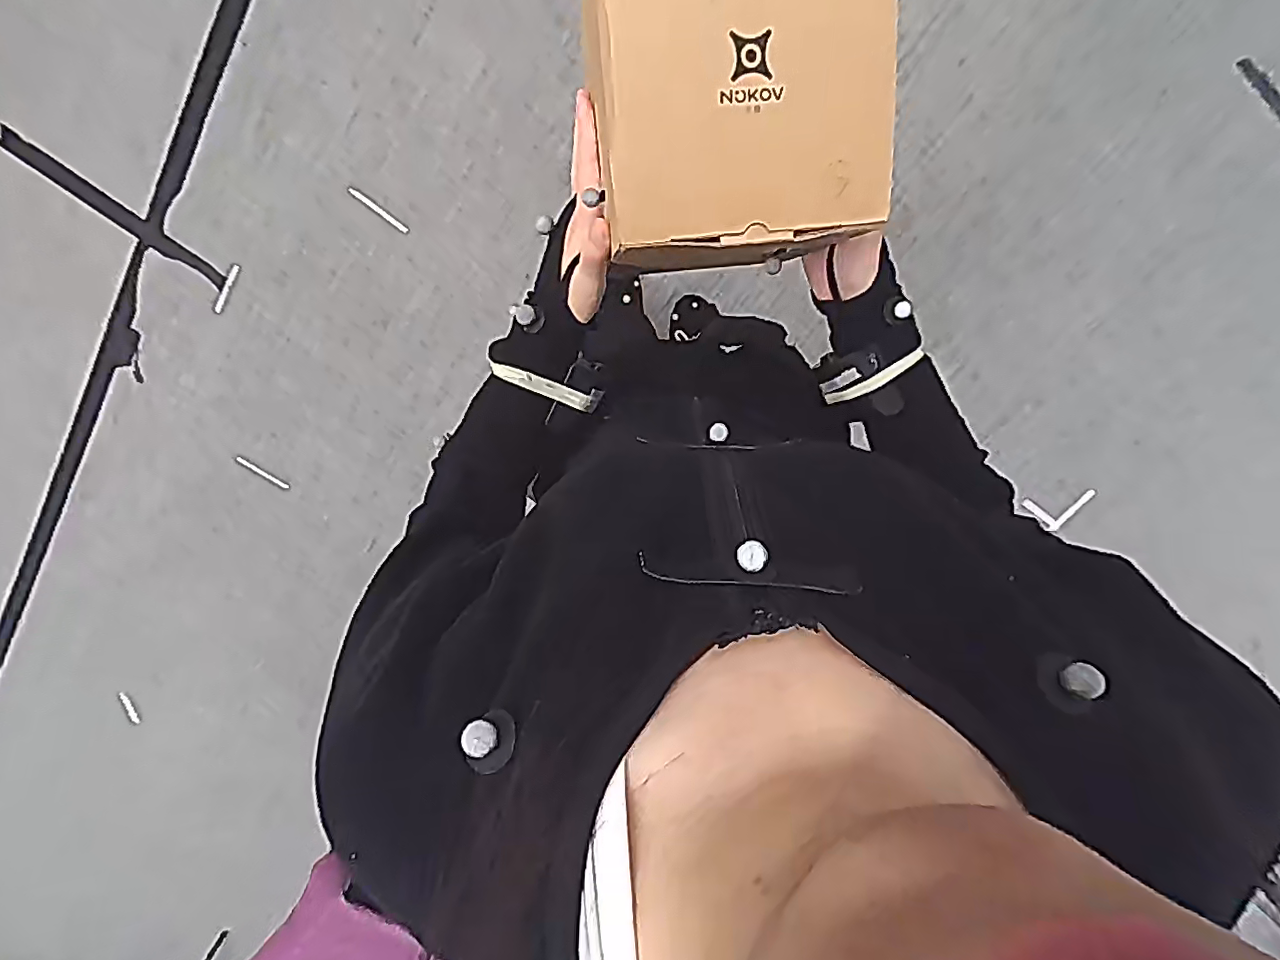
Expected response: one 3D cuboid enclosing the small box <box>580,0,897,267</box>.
[{"bbox_3d":[0.051,-0.247,0.368,0.168,0.176,0.179,-7,105,-5],"label":"small box"}]
